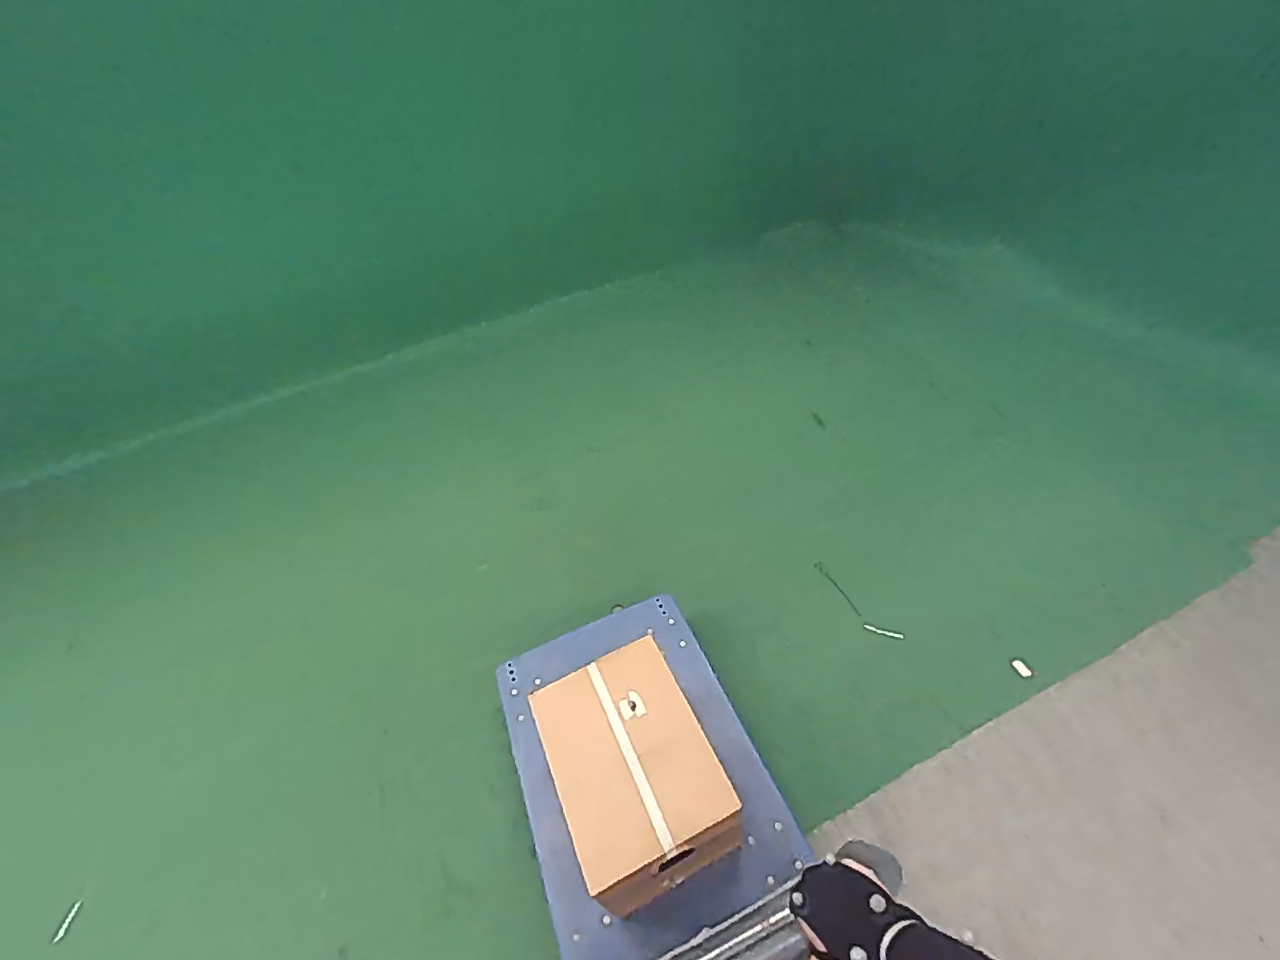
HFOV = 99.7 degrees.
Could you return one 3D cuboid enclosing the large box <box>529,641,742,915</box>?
[{"bbox_3d":[-0.007,0.660,1.221,0.320,0.320,0.408,-23,46,-12],"label":"large box"}]
